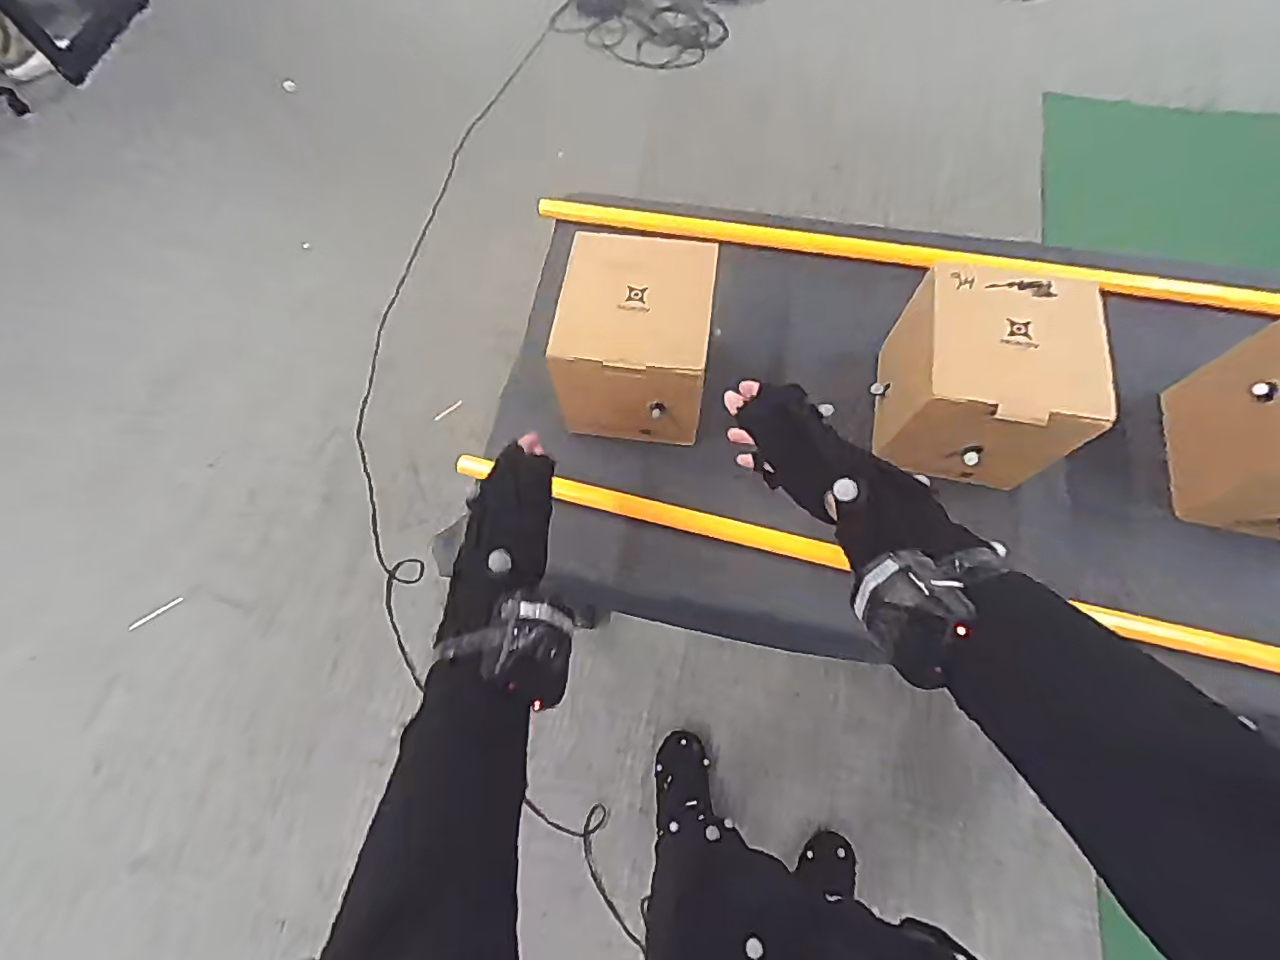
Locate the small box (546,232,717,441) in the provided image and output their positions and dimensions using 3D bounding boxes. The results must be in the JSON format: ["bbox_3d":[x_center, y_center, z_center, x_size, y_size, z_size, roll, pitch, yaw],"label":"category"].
[{"bbox_3d":[-0.004,-0.164,0.655,0.168,0.176,0.179,7,66,3],"label":"small box"}]

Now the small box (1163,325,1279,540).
[{"bbox_3d":[0.713,-0.048,0.575,0.168,0.176,0.179,12,69,8],"label":"small box"}]

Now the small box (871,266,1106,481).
[{"bbox_3d":[0.377,-0.113,0.620,0.168,0.176,0.179,8,67,7],"label":"small box"}]
